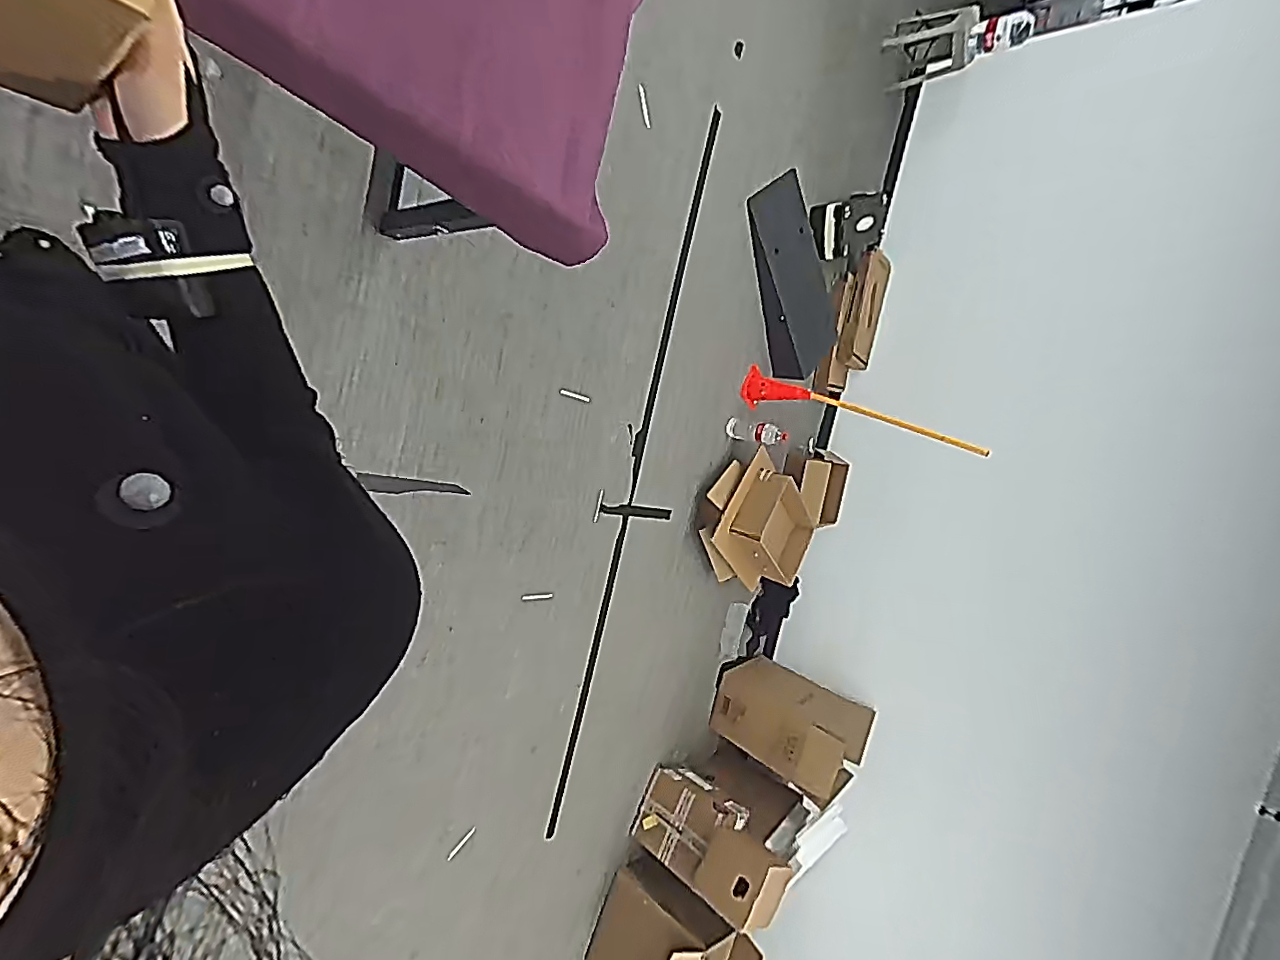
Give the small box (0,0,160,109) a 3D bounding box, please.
[{"bbox_3d":[-0.330,-0.304,0.230,0.168,0.176,0.179,-2,97,-54],"label":"small box"}]
